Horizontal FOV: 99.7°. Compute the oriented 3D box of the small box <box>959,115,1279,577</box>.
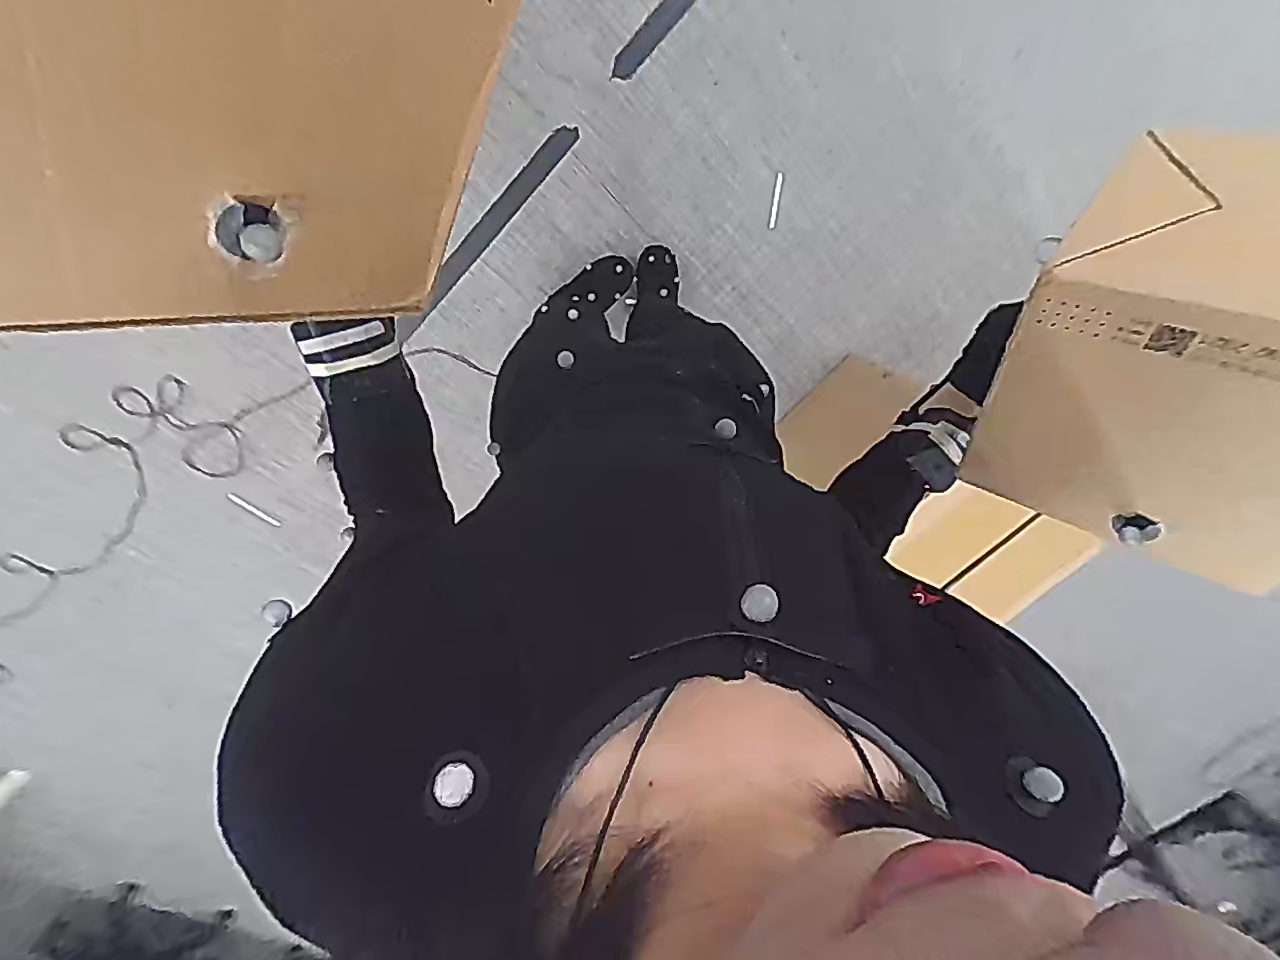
[{"bbox_3d":[0.321,-0.085,0.308,0.179,0.168,0.176,-46,144,-21],"label":"small box"}]

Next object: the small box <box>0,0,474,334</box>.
[{"bbox_3d":[-0.178,-0.172,0.179,0.168,0.179,0.176,46,128,16],"label":"small box"}]
